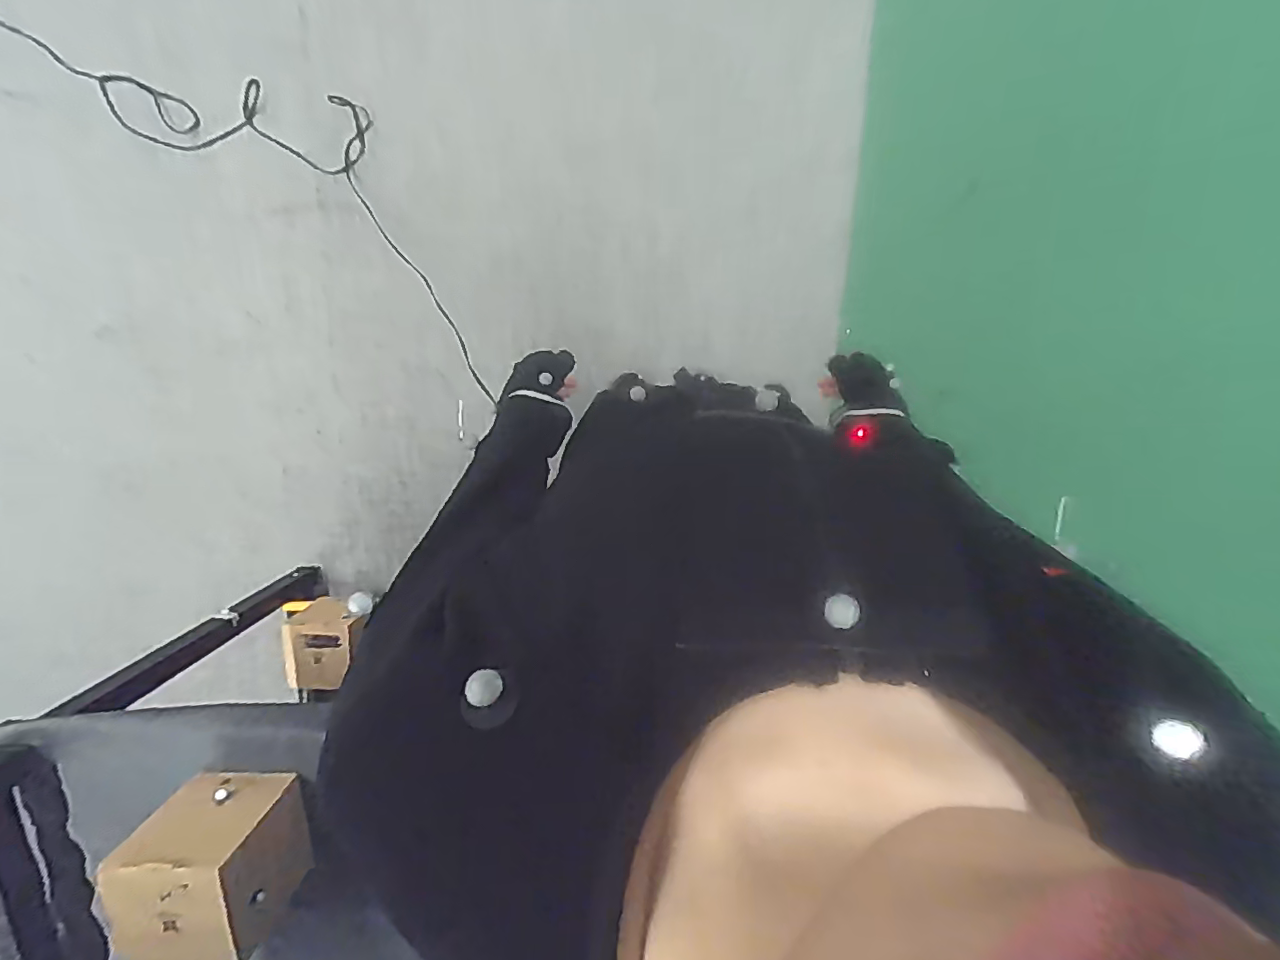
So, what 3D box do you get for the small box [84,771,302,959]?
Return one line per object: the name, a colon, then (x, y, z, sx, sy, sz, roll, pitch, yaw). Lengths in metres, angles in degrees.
small box: (-0.622, 0.557, 0.779, 0.168, 0.176, 0.179, 0, 103, 0)
